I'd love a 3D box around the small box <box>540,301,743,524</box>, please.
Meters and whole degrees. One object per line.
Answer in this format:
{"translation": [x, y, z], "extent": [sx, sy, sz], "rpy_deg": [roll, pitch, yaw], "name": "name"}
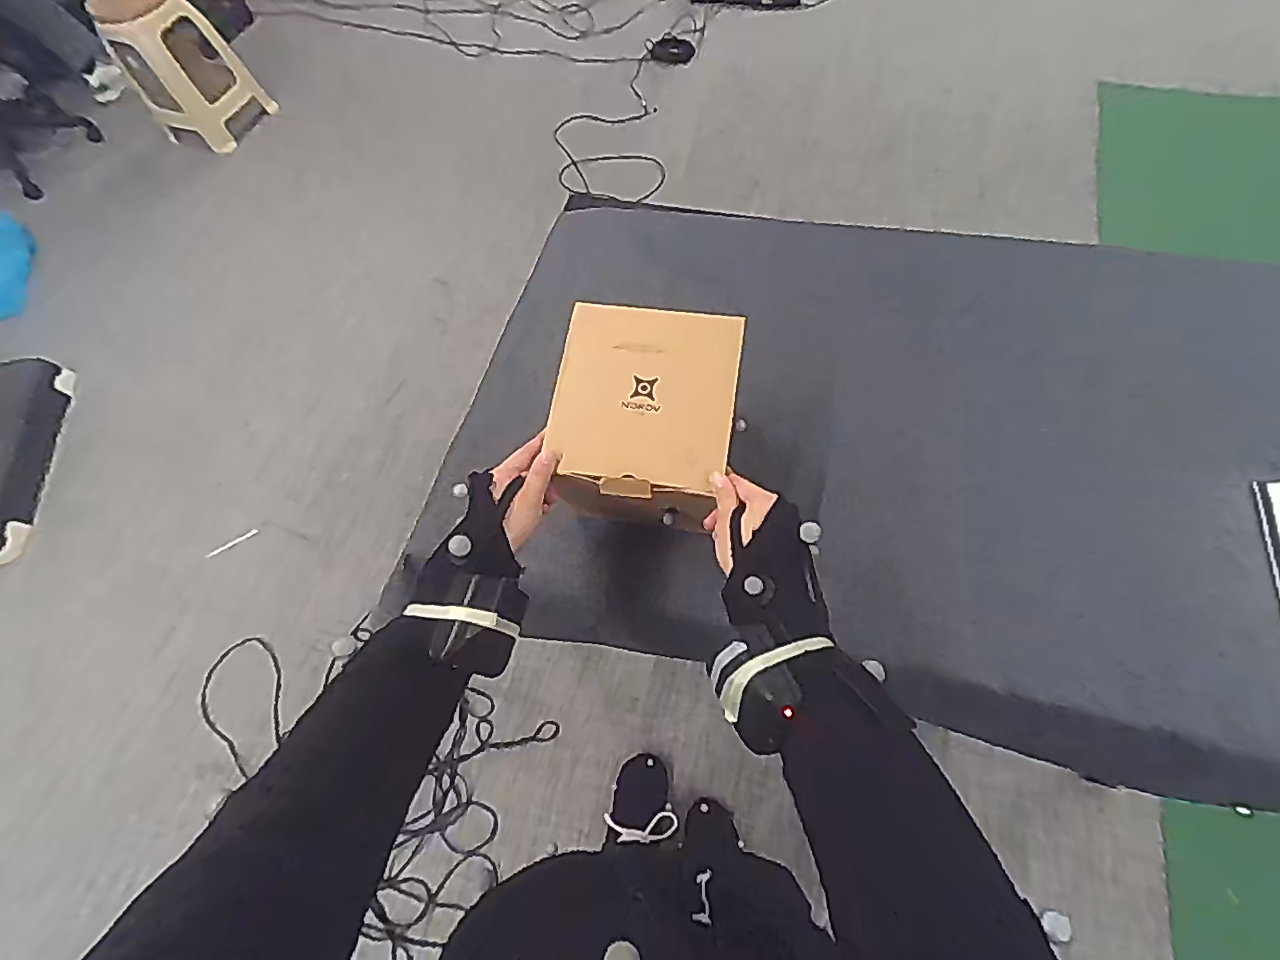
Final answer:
{"translation": [0.011, -0.059, 0.566], "extent": [0.168, 0.176, 0.179], "rpy_deg": [7, 73, 7], "name": "small box"}
